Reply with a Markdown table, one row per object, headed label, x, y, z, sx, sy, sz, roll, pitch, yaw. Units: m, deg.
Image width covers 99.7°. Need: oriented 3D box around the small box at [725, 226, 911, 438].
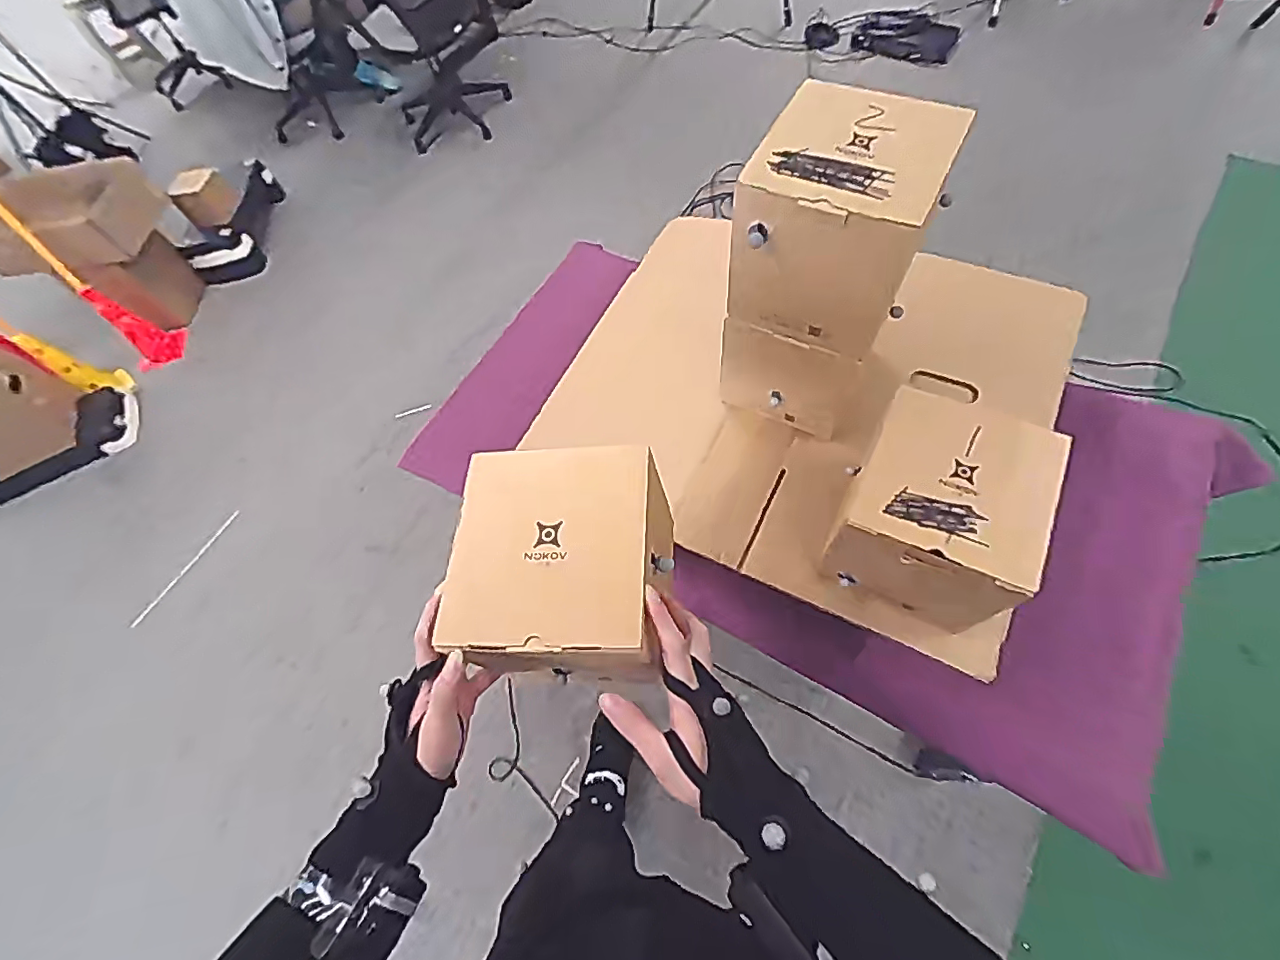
| label | x | y | z | sx | sy | sz | roll | pitch | yaw |
| --- | --- | --- | --- | --- | --- | --- | --- | --- | --- |
| small box | 0.219 | -0.188 | 0.708 | 0.168 | 0.176 | 0.179 | 25 | 69 | 17 |
